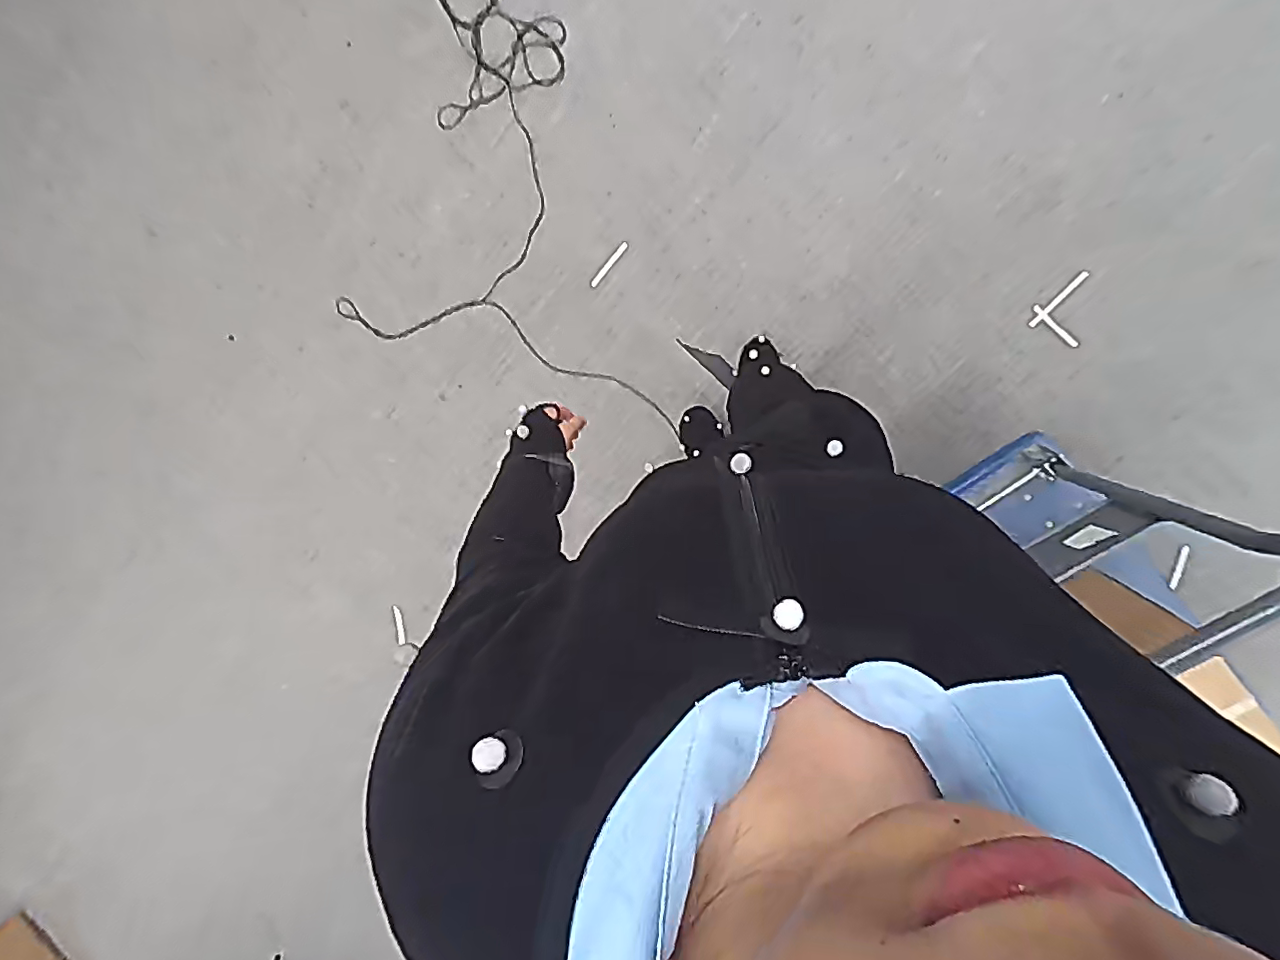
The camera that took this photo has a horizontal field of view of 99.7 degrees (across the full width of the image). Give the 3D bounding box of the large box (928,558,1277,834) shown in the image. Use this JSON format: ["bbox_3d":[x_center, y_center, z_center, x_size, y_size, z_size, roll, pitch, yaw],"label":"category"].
[{"bbox_3d":[0.928,0.438,1.157,0.408,0.320,0.320,-39,94,15],"label":"large box"}]
